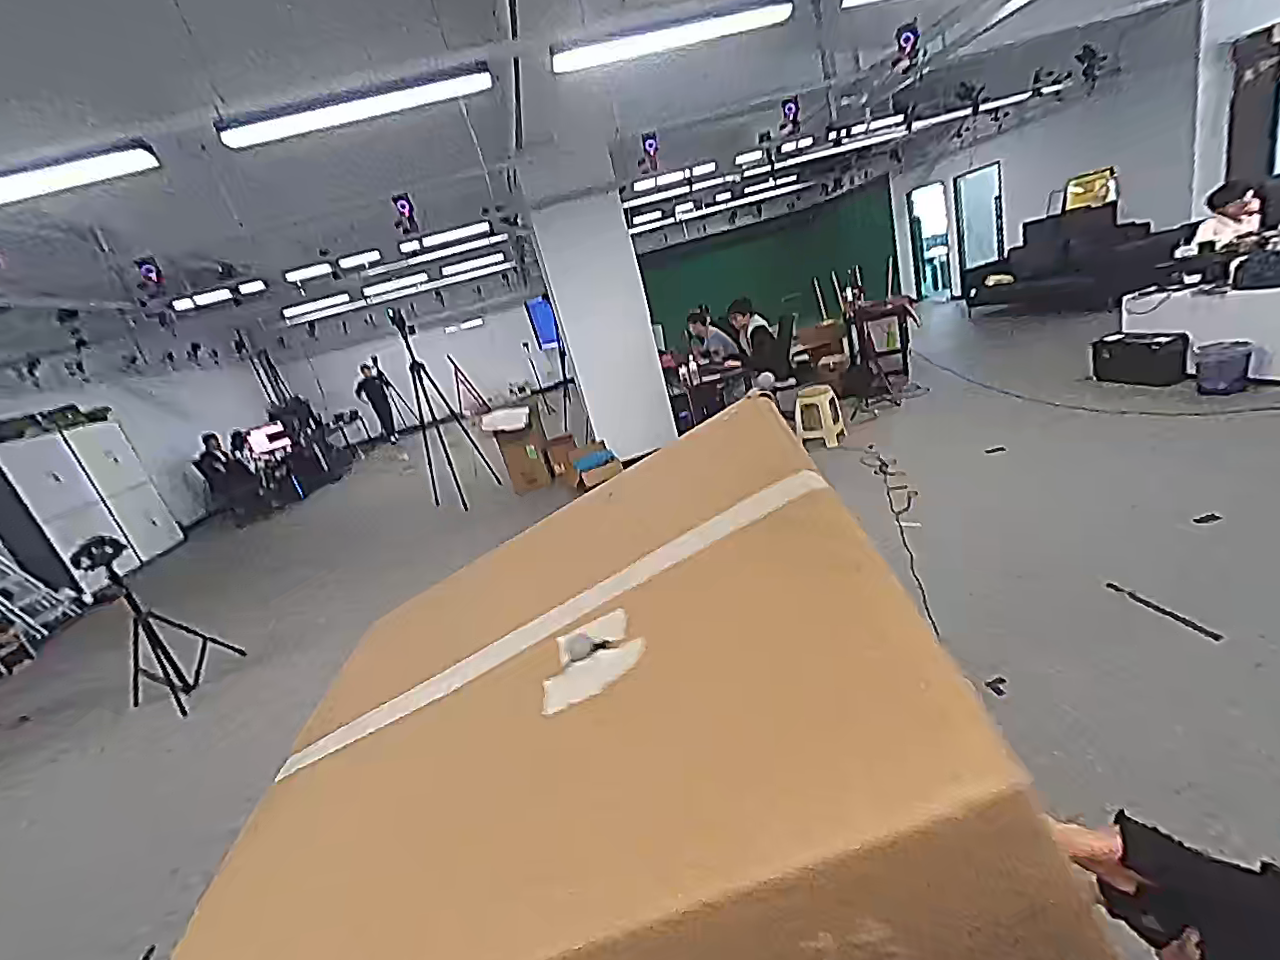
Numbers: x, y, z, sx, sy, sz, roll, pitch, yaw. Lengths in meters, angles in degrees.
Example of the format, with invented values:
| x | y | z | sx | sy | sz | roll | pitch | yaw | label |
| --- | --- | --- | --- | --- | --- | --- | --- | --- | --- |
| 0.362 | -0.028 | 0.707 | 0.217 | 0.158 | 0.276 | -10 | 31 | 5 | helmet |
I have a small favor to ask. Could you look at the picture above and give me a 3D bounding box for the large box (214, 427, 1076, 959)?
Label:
| x | y | z | sx | sy | sz | roll | pitch | yaw | label |
| --- | --- | --- | --- | --- | --- | --- | --- | --- | --- |
| 0.010 | 0.234 | 0.406 | 0.408 | 0.320 | 0.320 | -30 | 25 | 13 | large box |
